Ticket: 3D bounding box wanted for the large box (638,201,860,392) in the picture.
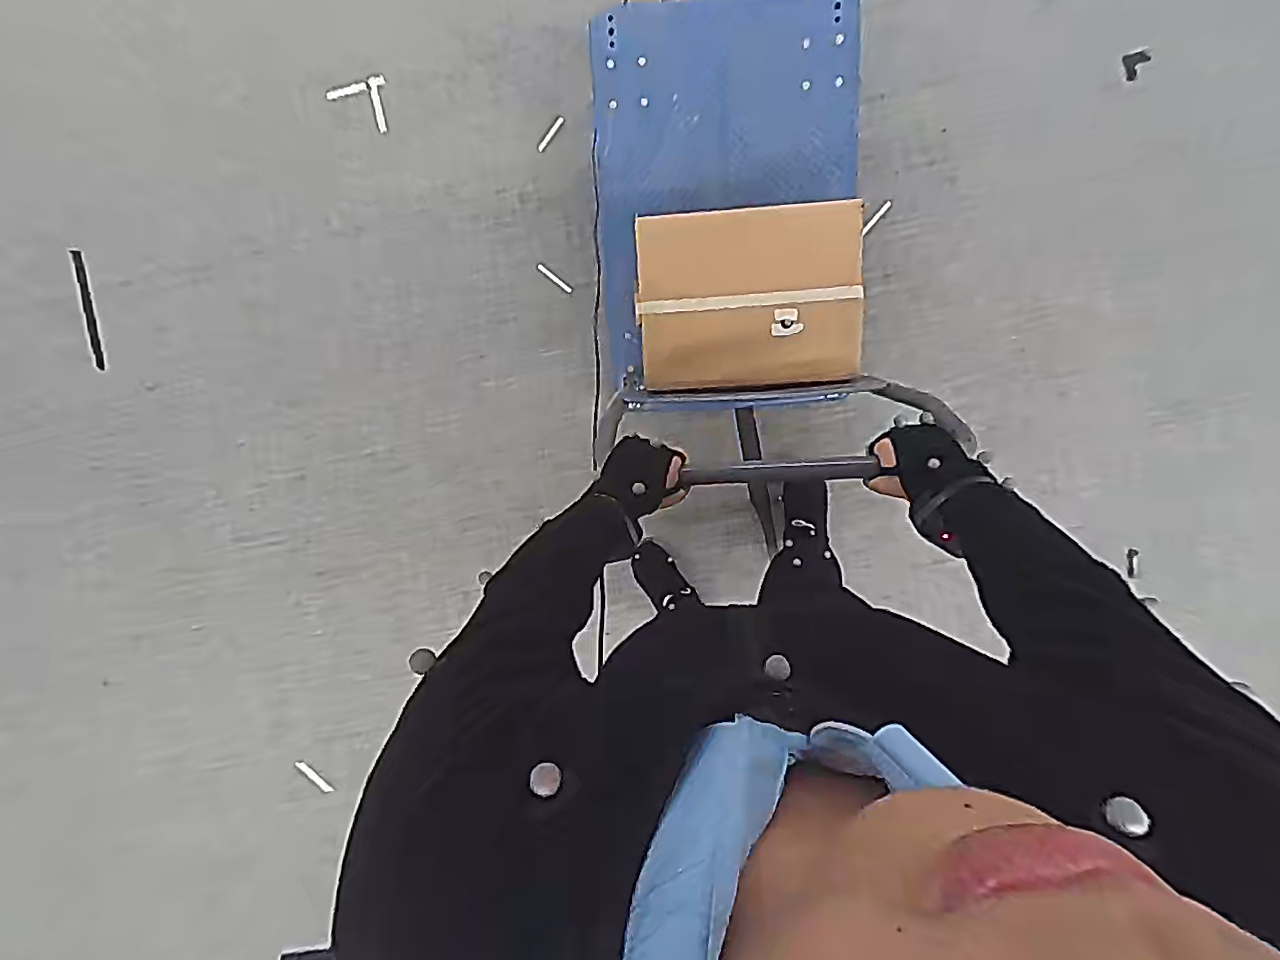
[{"bbox_3d":[0.213,-0.366,1.153,0.408,0.320,0.320,-3,103,4],"label":"large box"}]
